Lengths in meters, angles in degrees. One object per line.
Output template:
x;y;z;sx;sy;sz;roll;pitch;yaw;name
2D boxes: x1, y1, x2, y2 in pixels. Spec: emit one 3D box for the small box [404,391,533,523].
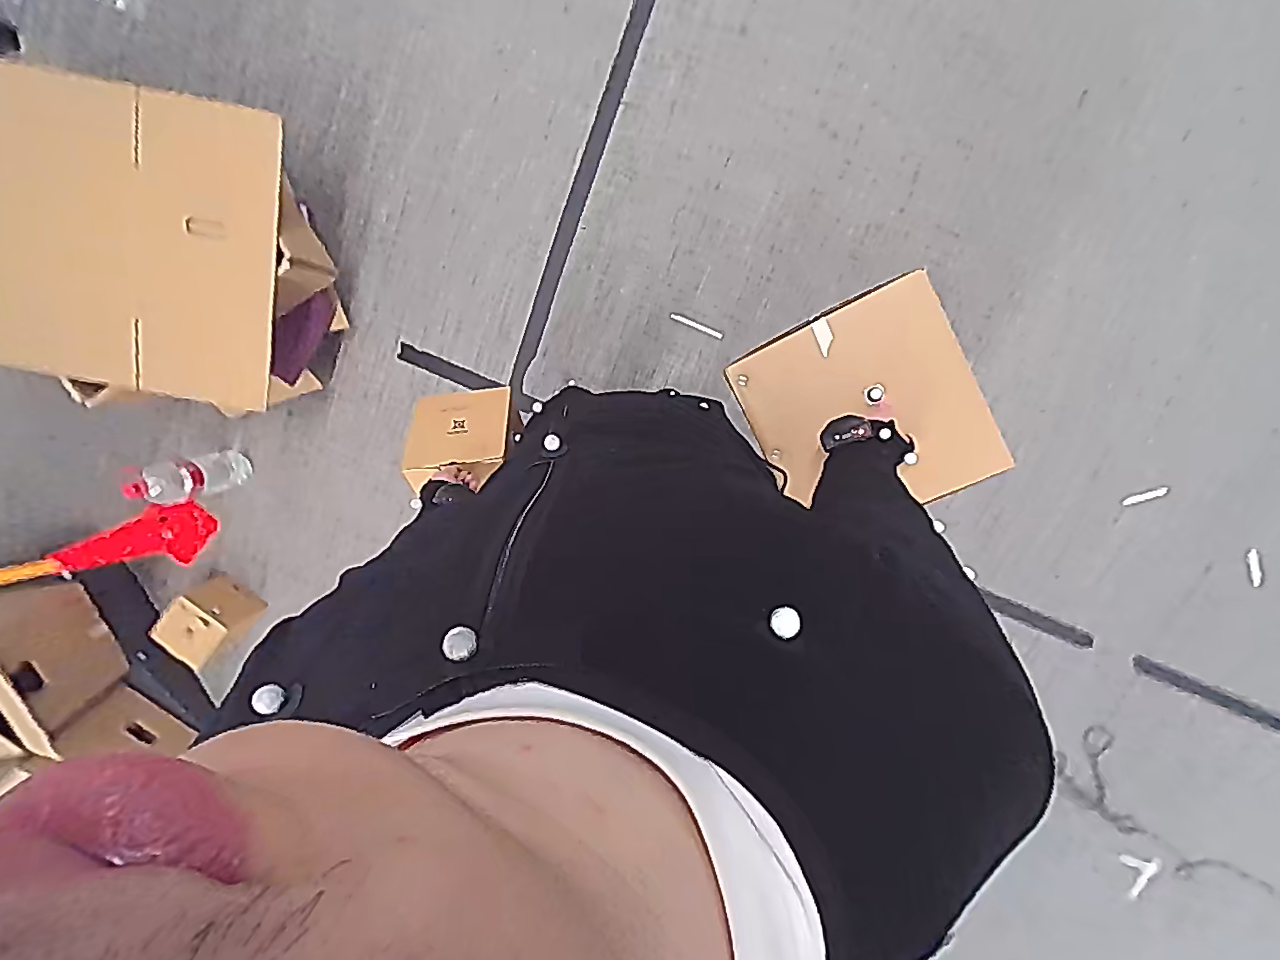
-0.294;-0.034;0.971;0.168;0.179;0.176;-5;140;1;small box
